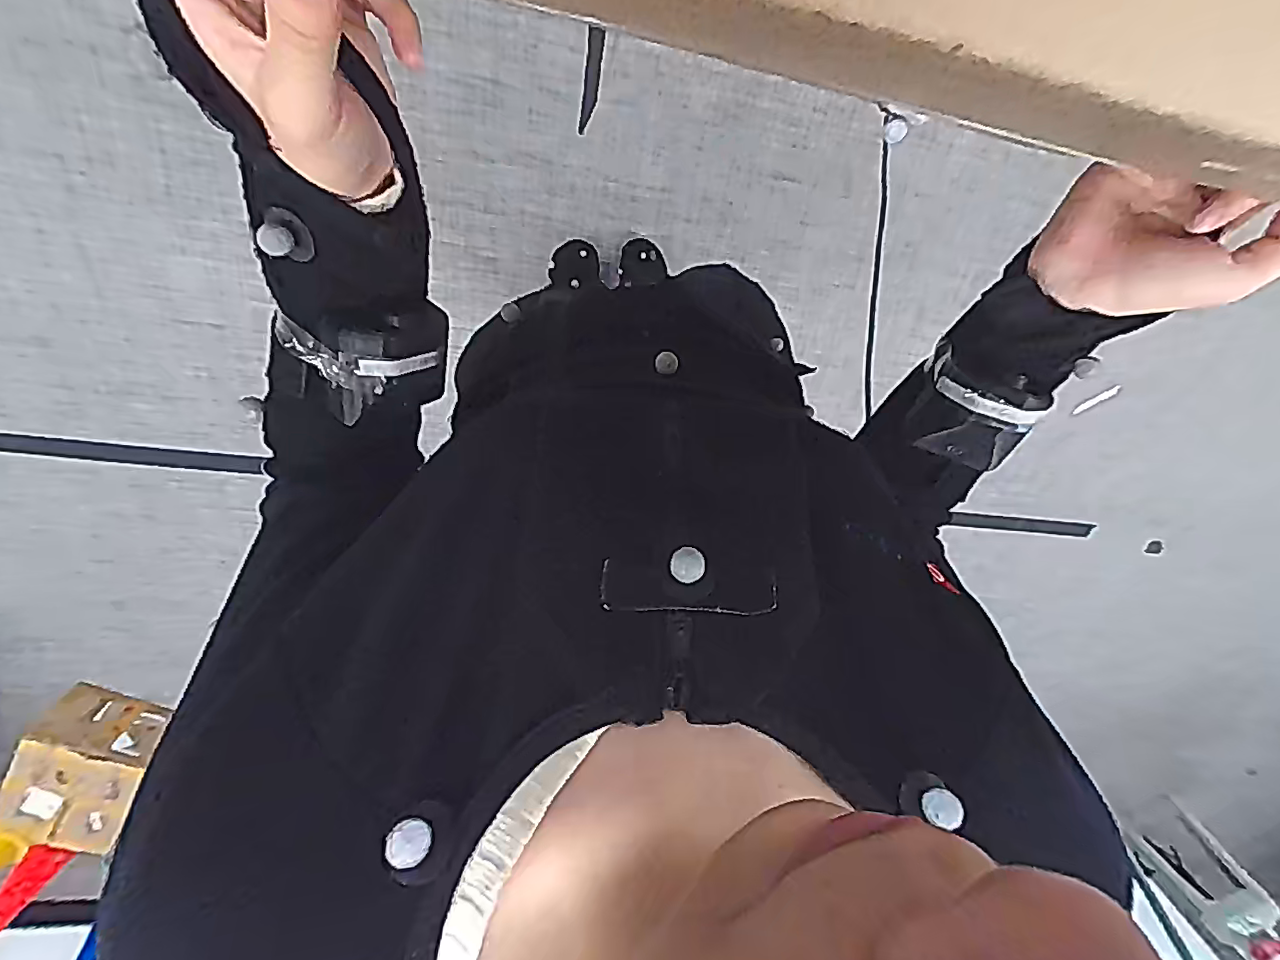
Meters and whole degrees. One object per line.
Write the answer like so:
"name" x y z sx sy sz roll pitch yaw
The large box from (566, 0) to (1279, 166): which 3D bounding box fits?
"large box" 0.104 -0.292 0.120 0.408 0.320 0.320 4 129 -13
